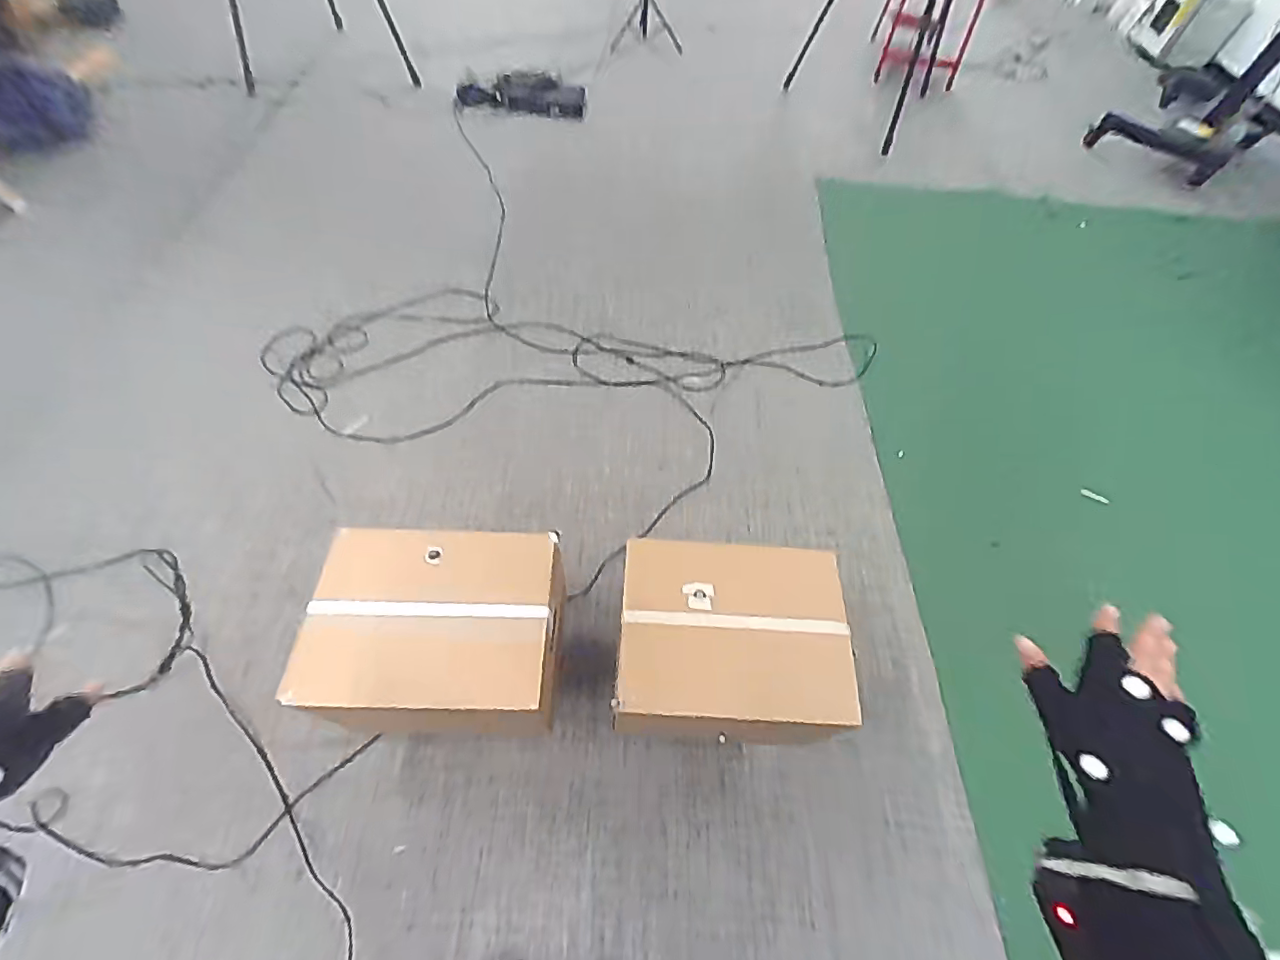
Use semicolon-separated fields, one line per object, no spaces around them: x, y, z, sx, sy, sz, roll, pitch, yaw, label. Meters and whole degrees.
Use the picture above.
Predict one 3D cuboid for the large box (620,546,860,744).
0.170;0.347;1.098;0.408;0.320;0.320;4;57;-1;large box
